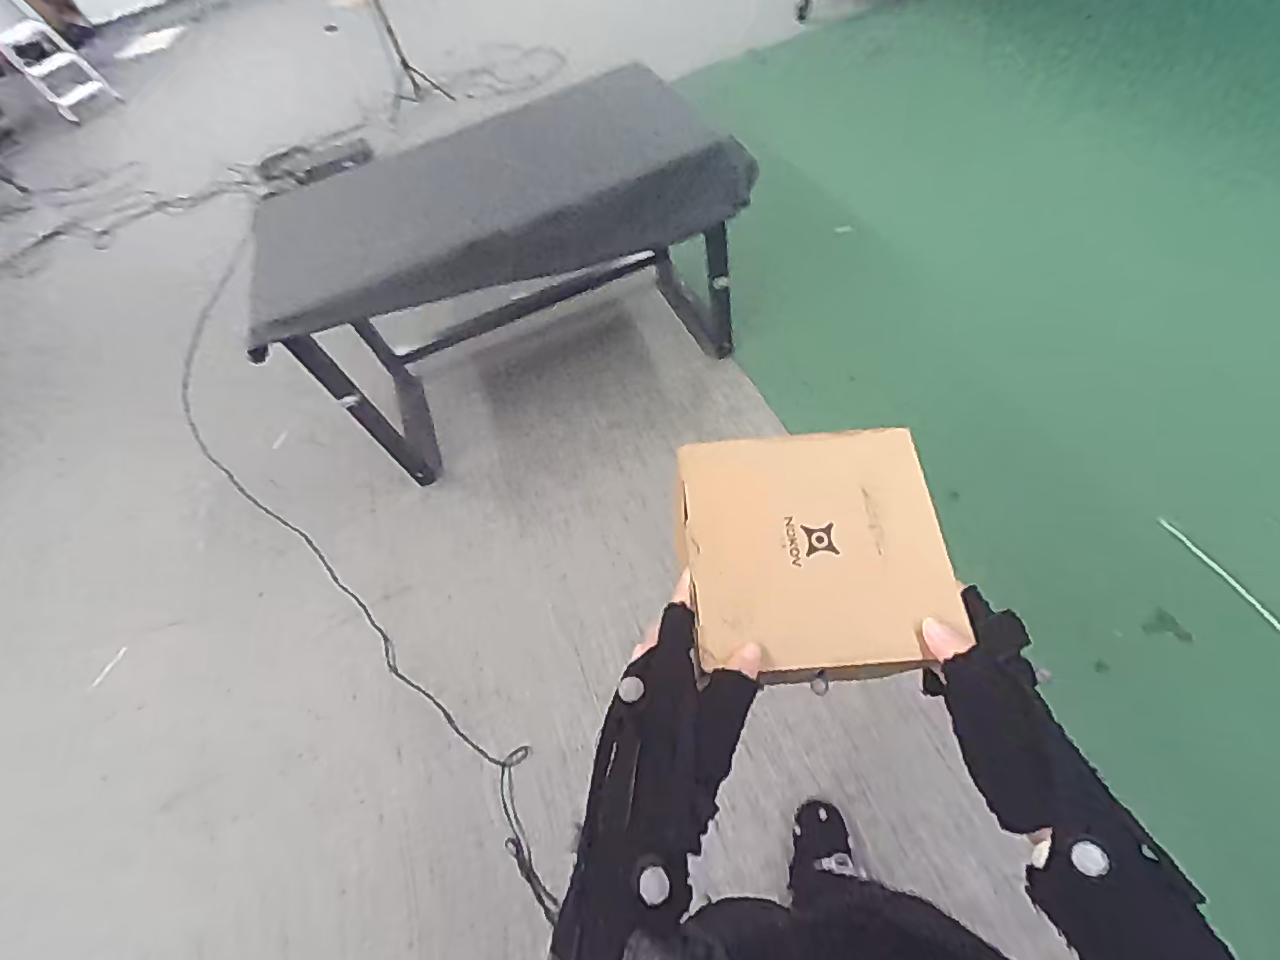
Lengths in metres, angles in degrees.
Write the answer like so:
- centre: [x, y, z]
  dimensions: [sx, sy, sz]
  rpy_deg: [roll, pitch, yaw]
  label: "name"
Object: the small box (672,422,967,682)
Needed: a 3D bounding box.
- centre: [0.120, 0.070, 0.450]
  dimensions: [0.179, 0.176, 0.168]
  rpy_deg: [-5, 66, -2]
  label: "small box"
